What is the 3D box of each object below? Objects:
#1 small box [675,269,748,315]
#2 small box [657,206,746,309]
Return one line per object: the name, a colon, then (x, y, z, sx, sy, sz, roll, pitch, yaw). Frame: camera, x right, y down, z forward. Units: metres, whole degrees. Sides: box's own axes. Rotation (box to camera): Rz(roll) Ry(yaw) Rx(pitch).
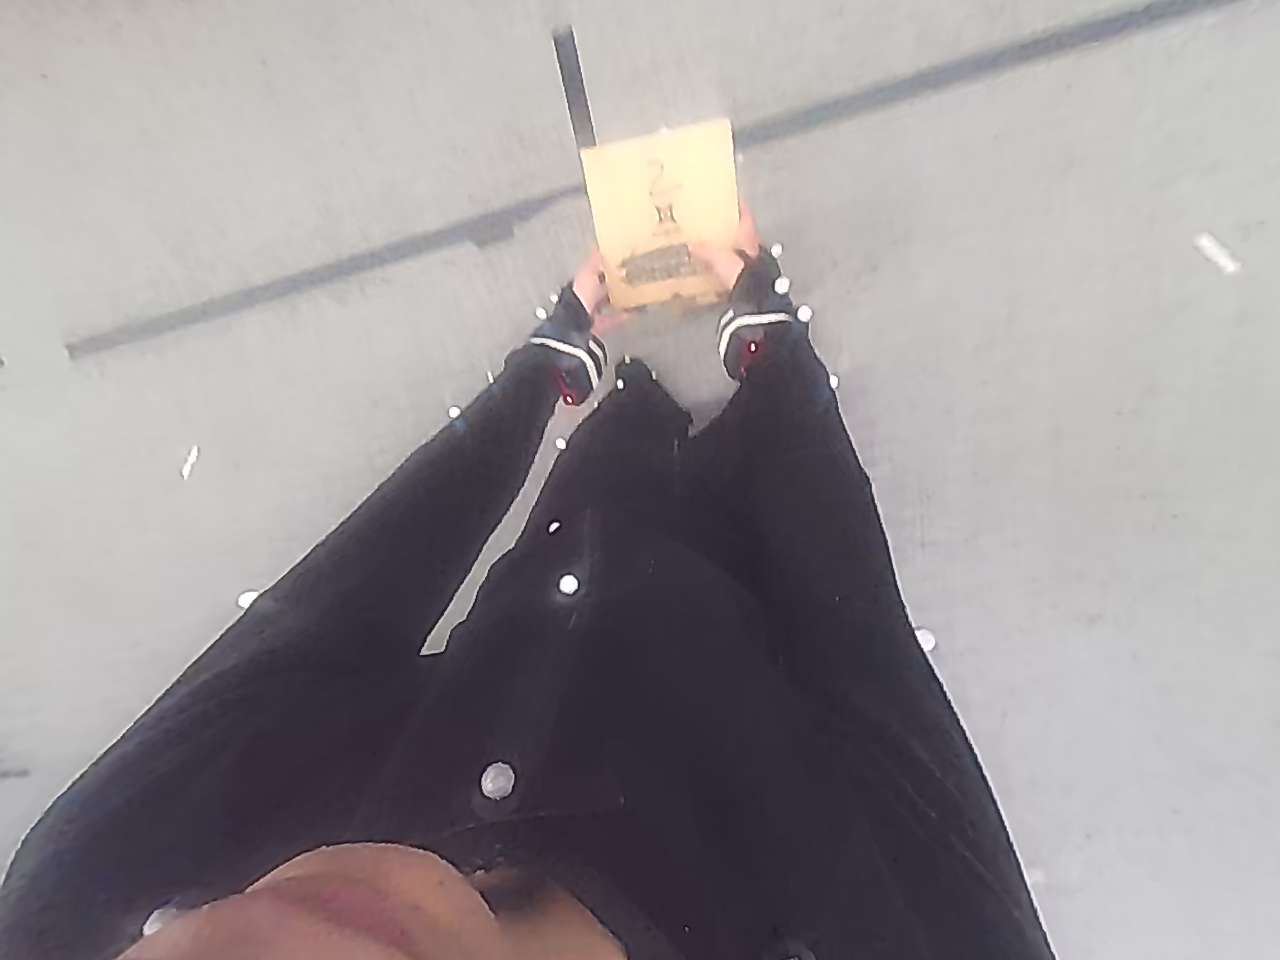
small box: (0.160, -0.511, 1.332, 0.179, 0.176, 0.168, -11, 105, 11)
small box: (0.134, -0.474, 1.175, 0.168, 0.176, 0.179, -7, 107, 9)
